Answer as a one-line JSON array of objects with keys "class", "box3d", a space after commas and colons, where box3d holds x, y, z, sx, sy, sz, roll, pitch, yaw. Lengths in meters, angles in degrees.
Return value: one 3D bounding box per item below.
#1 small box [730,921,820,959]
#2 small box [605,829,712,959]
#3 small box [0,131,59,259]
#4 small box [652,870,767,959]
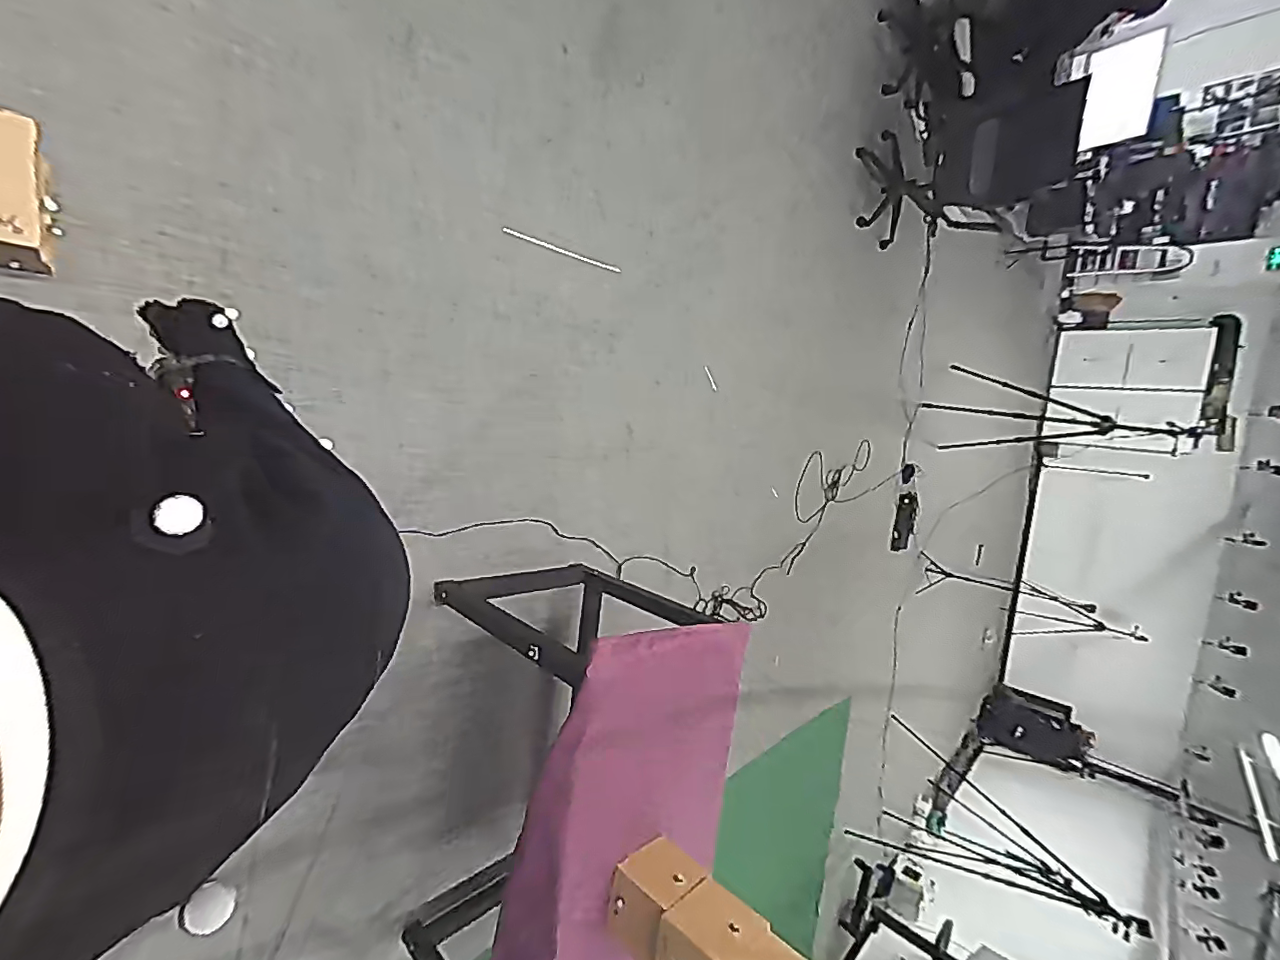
[{"class": "small box", "box3d": [0.261, 1.033, 1.057, 0.179, 0.176, 0.168, 5, 94, -48]}, {"class": "small box", "box3d": [0.043, 0.986, 1.299, 0.179, 0.176, 0.168, 7, 93, -46]}, {"class": "small box", "box3d": [-1.069, -0.467, 0.870, 0.179, 0.176, 0.168, -1, 100, -46]}, {"class": "small box", "box3d": [0.150, 1.005, 1.176, 0.179, 0.176, 0.168, 4, 94, -47]}]
